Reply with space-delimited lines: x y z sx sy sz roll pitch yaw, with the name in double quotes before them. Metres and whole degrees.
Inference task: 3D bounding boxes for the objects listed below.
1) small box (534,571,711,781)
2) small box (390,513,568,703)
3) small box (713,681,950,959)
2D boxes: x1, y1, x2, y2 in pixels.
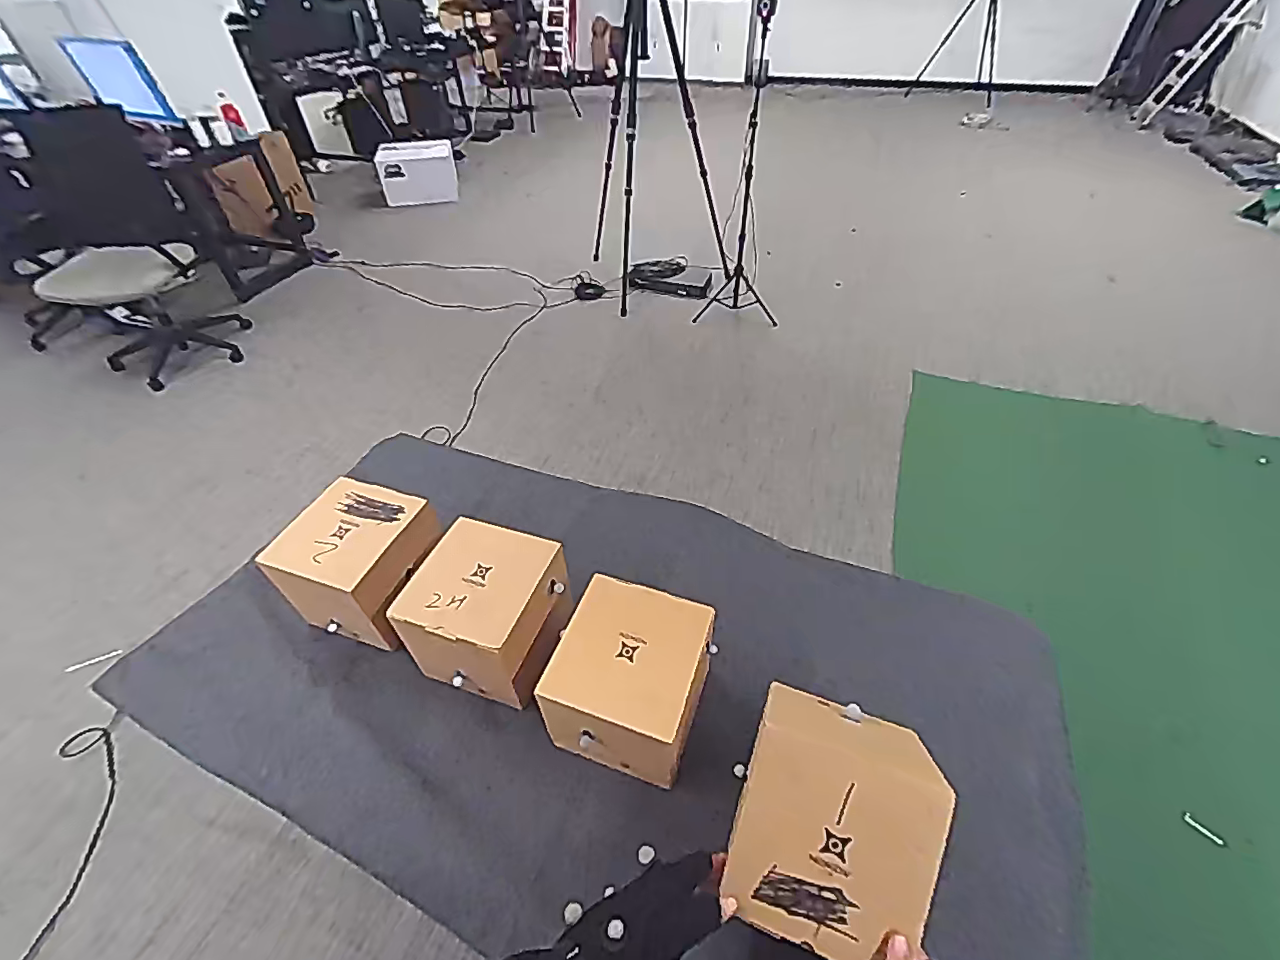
"small box" -0.012 0.253 0.695 0.168 0.176 0.179 14 46 15
"small box" -0.211 0.181 0.770 0.168 0.176 0.179 13 47 15
"small box" 0.187 0.334 0.554 0.168 0.176 0.179 16 87 17
